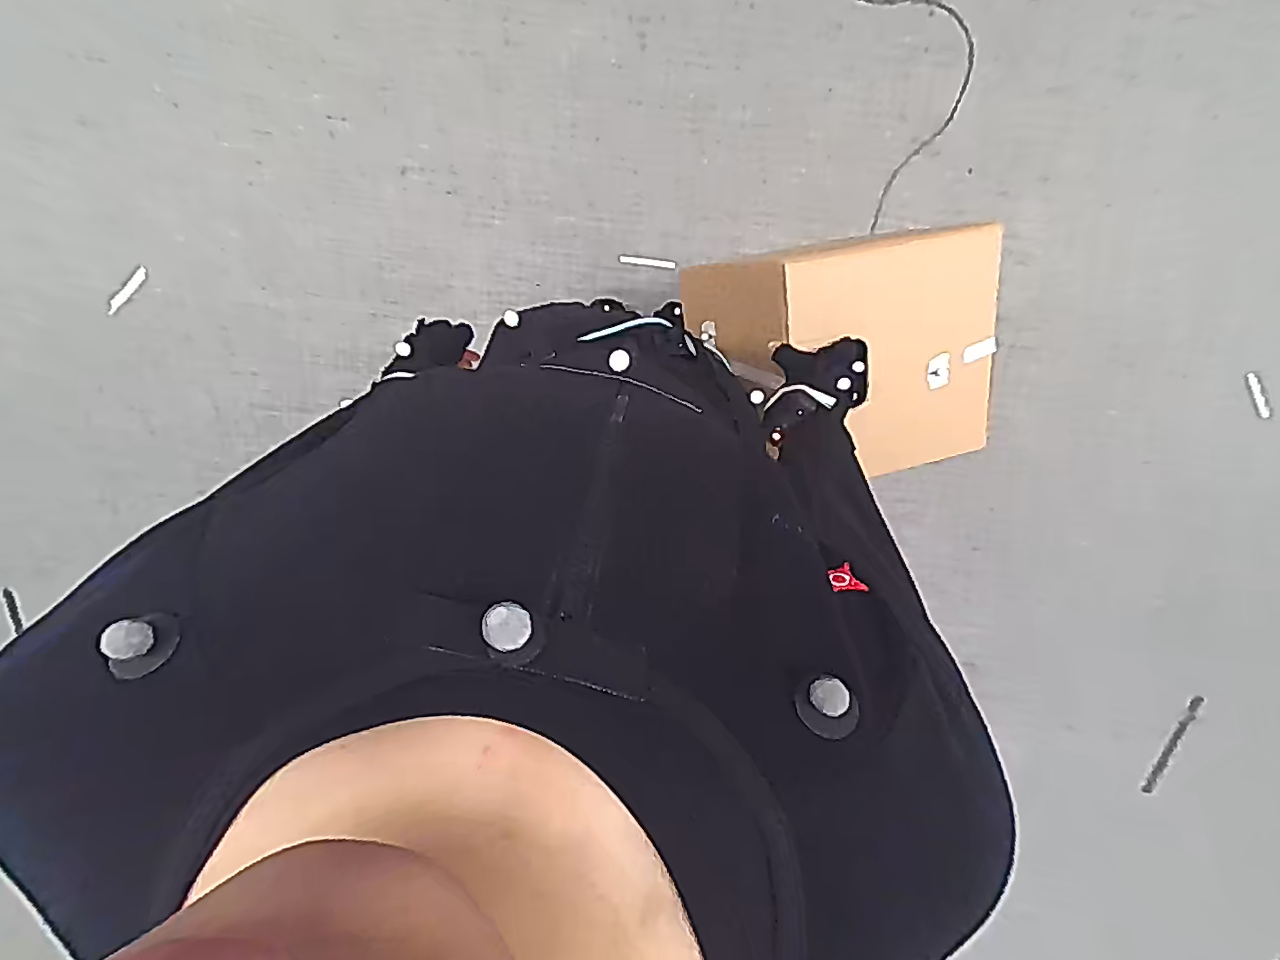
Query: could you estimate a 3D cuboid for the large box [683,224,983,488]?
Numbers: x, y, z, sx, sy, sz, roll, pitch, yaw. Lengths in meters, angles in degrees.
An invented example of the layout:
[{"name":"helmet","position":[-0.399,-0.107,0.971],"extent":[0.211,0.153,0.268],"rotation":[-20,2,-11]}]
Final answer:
[{"name":"large box","position":[0.294,-0.224,0.919],"extent":[0.320,0.408,0.320],"rotation":[-13,112,-8]}]
